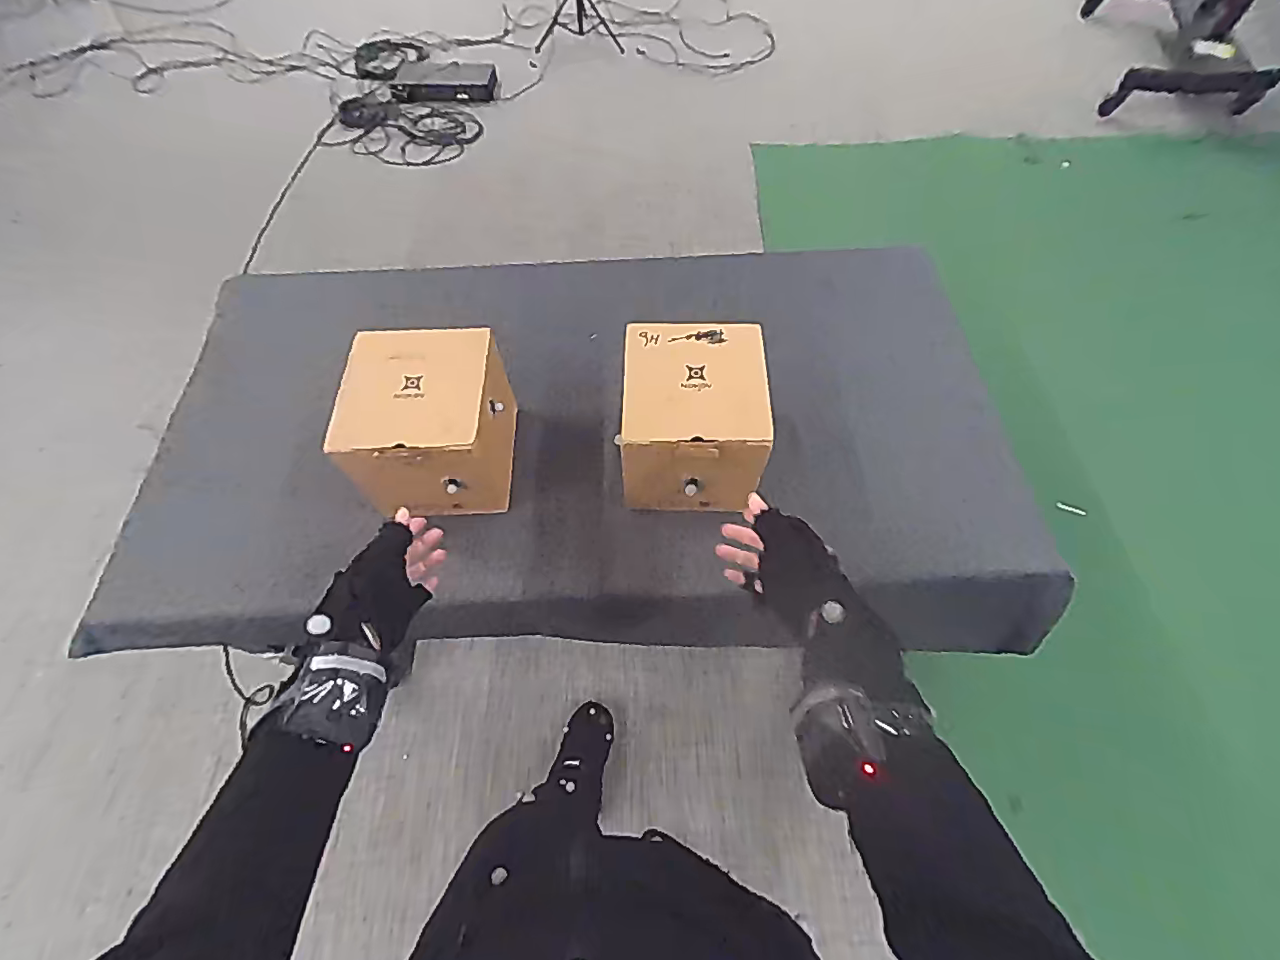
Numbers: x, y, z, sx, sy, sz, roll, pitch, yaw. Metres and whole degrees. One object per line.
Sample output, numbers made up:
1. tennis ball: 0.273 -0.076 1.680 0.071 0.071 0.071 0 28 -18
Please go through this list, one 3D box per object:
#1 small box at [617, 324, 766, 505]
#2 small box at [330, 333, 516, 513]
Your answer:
1. small box: 0.062 -0.076 0.694 0.168 0.176 0.179 0 62 2
2. small box: -0.262 -0.064 0.702 0.168 0.176 0.179 -3 60 -1
